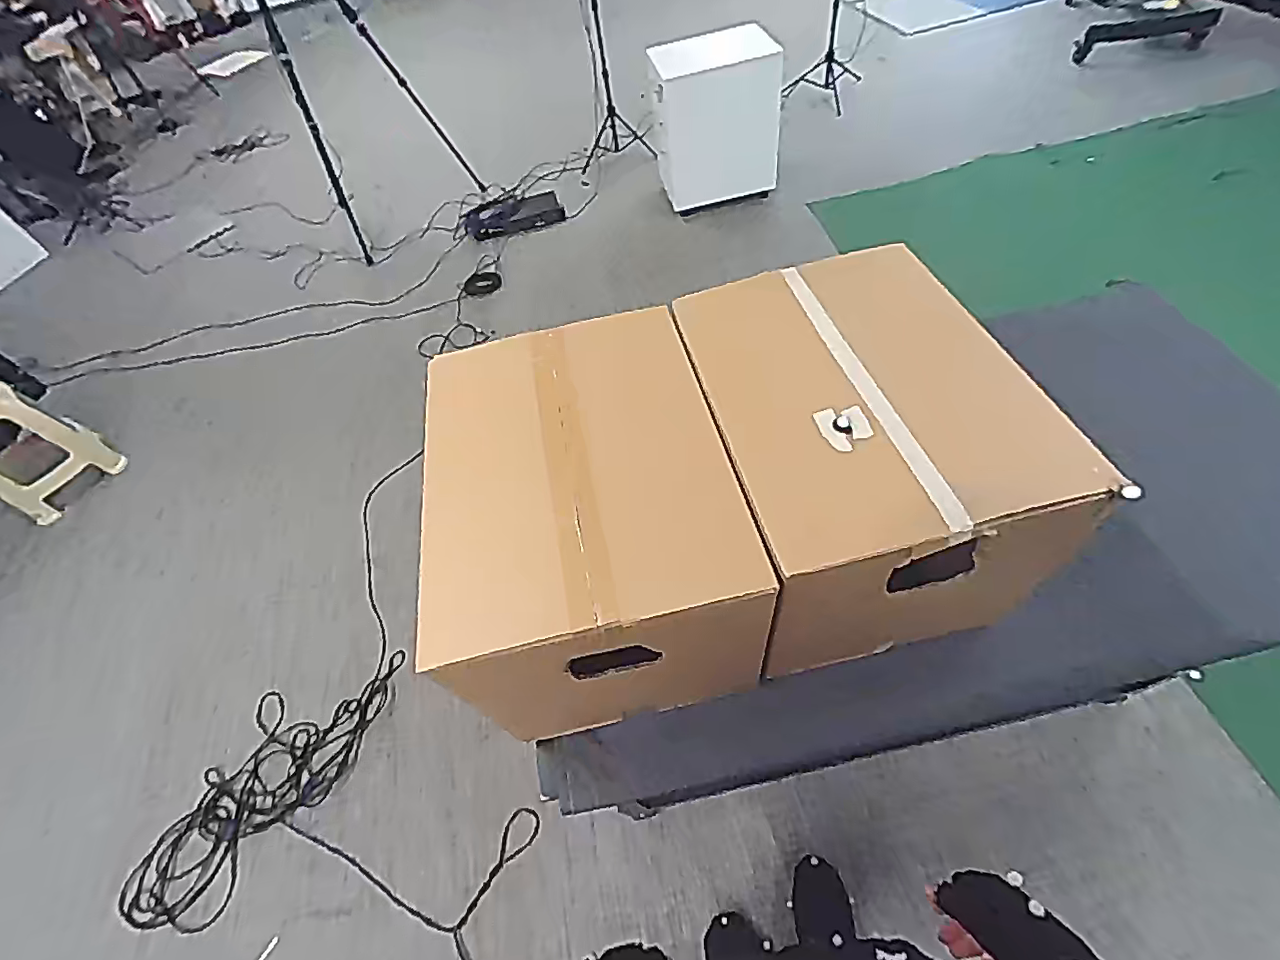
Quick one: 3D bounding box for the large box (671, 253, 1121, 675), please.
[{"bbox_3d":[0.248,-0.019,0.701,0.320,0.320,0.408,-15,54,0],"label":"large box"}]
